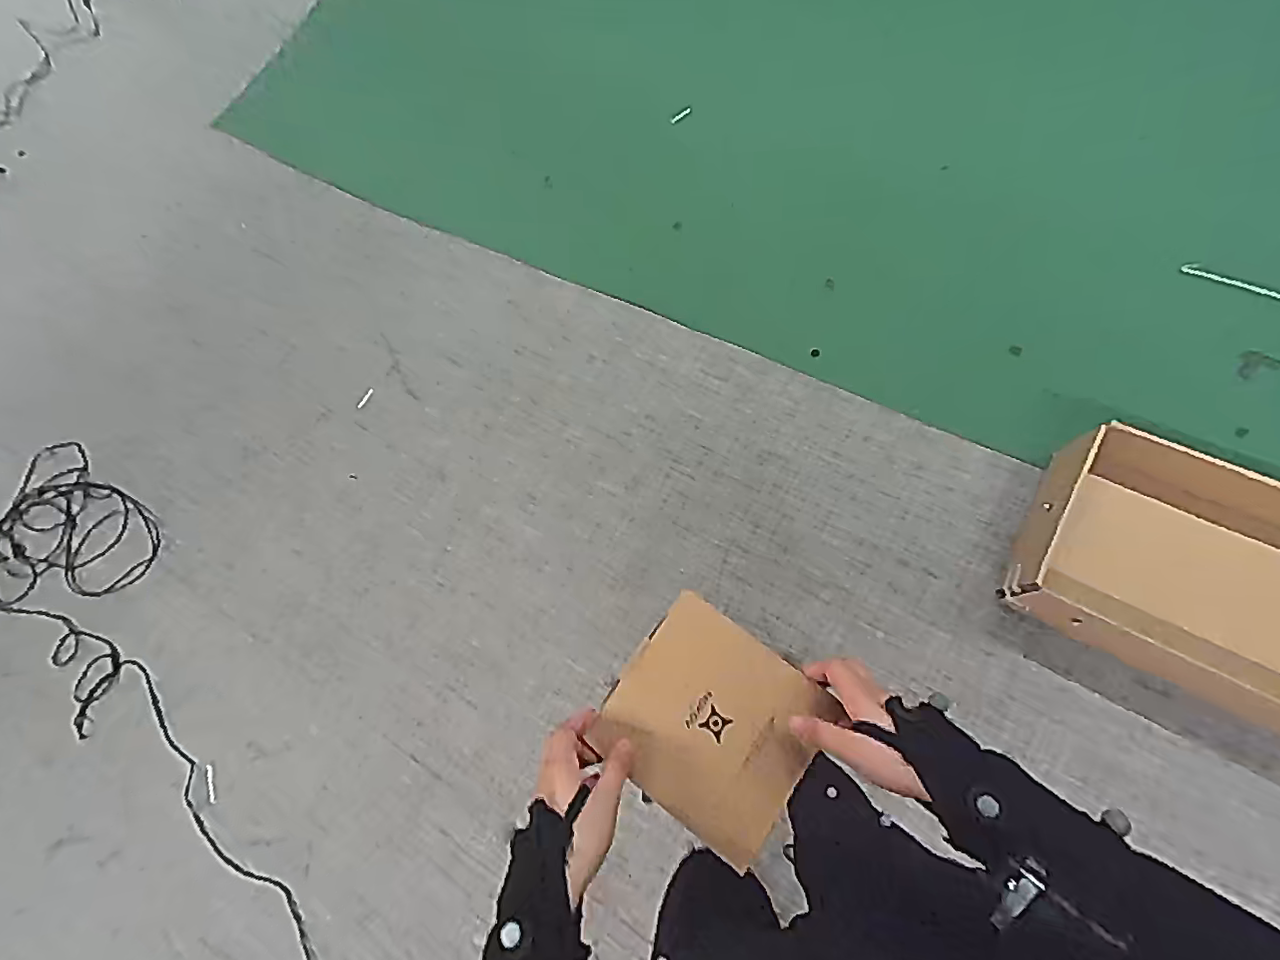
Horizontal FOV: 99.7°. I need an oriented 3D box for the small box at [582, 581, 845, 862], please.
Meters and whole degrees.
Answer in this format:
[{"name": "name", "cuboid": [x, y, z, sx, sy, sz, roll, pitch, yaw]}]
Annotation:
[{"name": "small box", "cuboid": [0.066, 0.226, 0.550, 0.179, 0.176, 0.168, 35, 79, 10]}]
